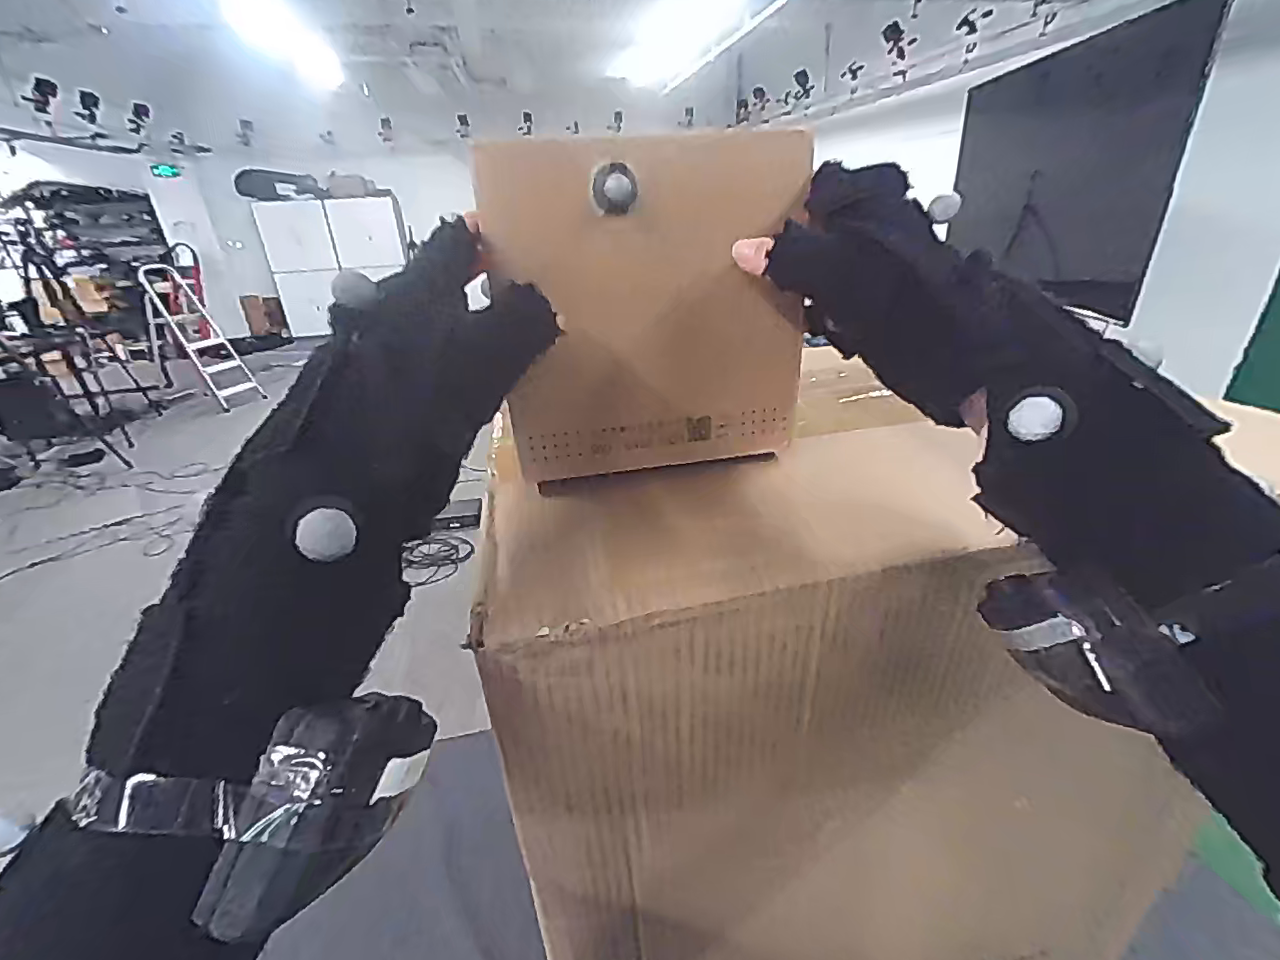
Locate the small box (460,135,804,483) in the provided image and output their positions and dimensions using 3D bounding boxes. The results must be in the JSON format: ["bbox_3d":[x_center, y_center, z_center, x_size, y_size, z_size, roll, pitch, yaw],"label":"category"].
[{"bbox_3d":[-0.009,-0.111,0.357,0.168,0.176,0.179,-8,24,-8],"label":"small box"}]
